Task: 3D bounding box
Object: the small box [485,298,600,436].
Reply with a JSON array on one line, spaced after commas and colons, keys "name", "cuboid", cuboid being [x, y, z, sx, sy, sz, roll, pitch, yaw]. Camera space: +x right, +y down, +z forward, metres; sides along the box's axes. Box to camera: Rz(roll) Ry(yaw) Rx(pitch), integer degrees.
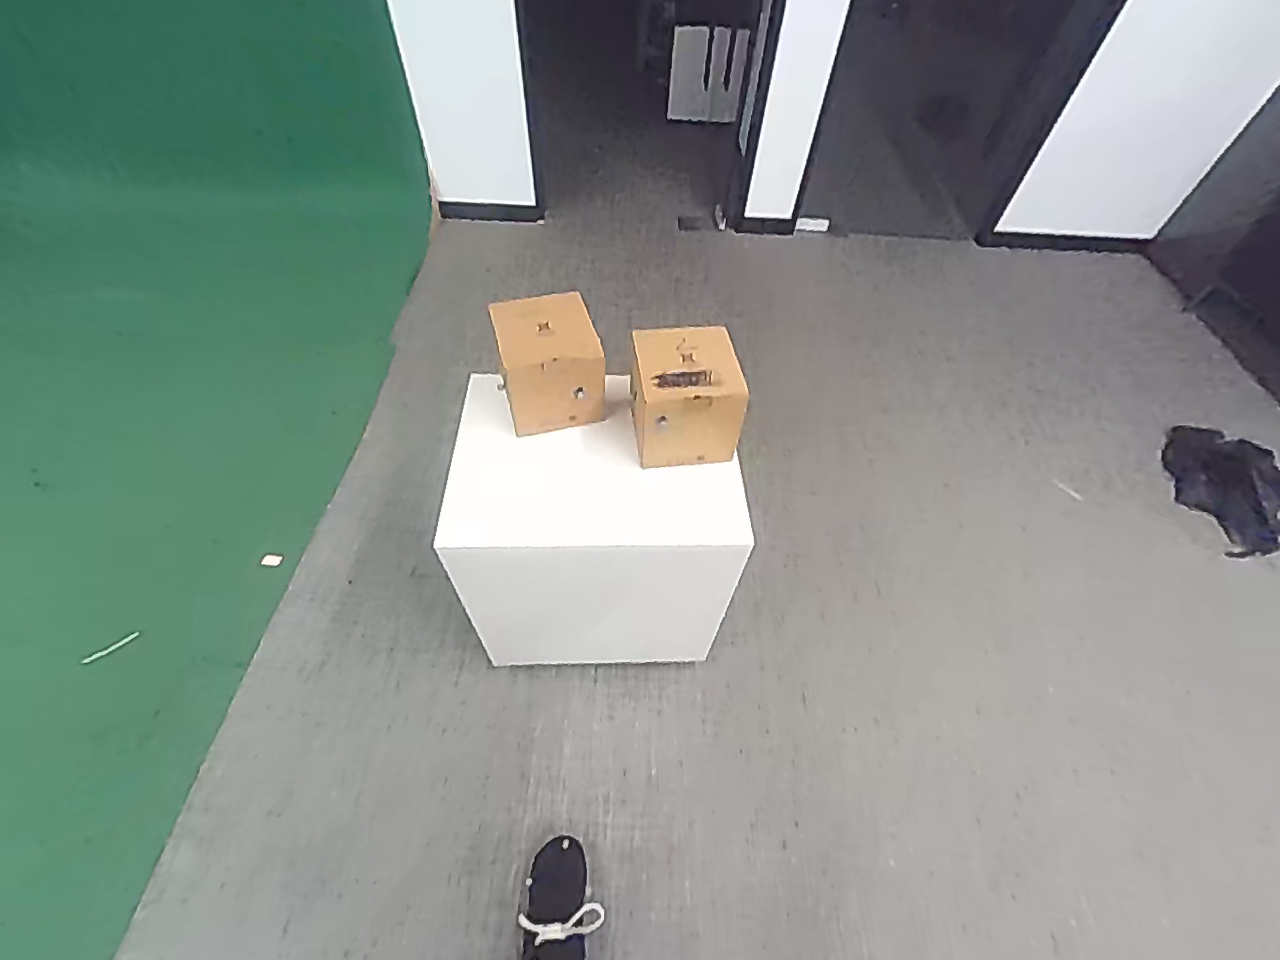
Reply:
[{"name": "small box", "cuboid": [-0.170, -0.196, 0.970, 0.168, 0.176, 0.179, -13, 54, -14]}]
